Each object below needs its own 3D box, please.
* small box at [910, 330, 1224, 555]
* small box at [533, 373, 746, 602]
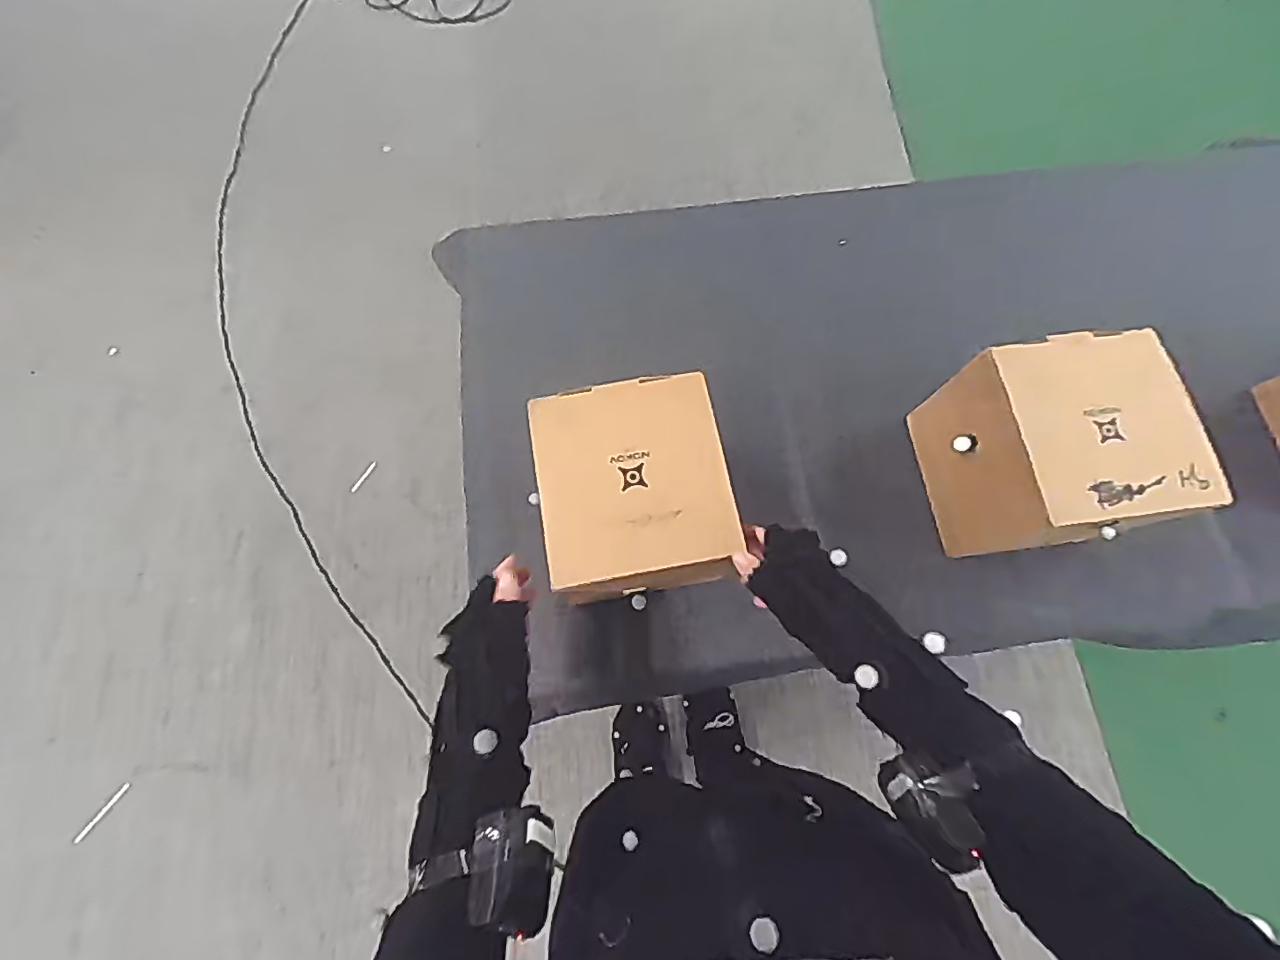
[{"bbox_3d":[0.415,-0.029,0.567,0.168,0.176,0.179,-7,72,-2],"label":"small box"},{"bbox_3d":[-0.005,0.018,0.552,0.168,0.176,0.179,-11,73,-2],"label":"small box"}]
